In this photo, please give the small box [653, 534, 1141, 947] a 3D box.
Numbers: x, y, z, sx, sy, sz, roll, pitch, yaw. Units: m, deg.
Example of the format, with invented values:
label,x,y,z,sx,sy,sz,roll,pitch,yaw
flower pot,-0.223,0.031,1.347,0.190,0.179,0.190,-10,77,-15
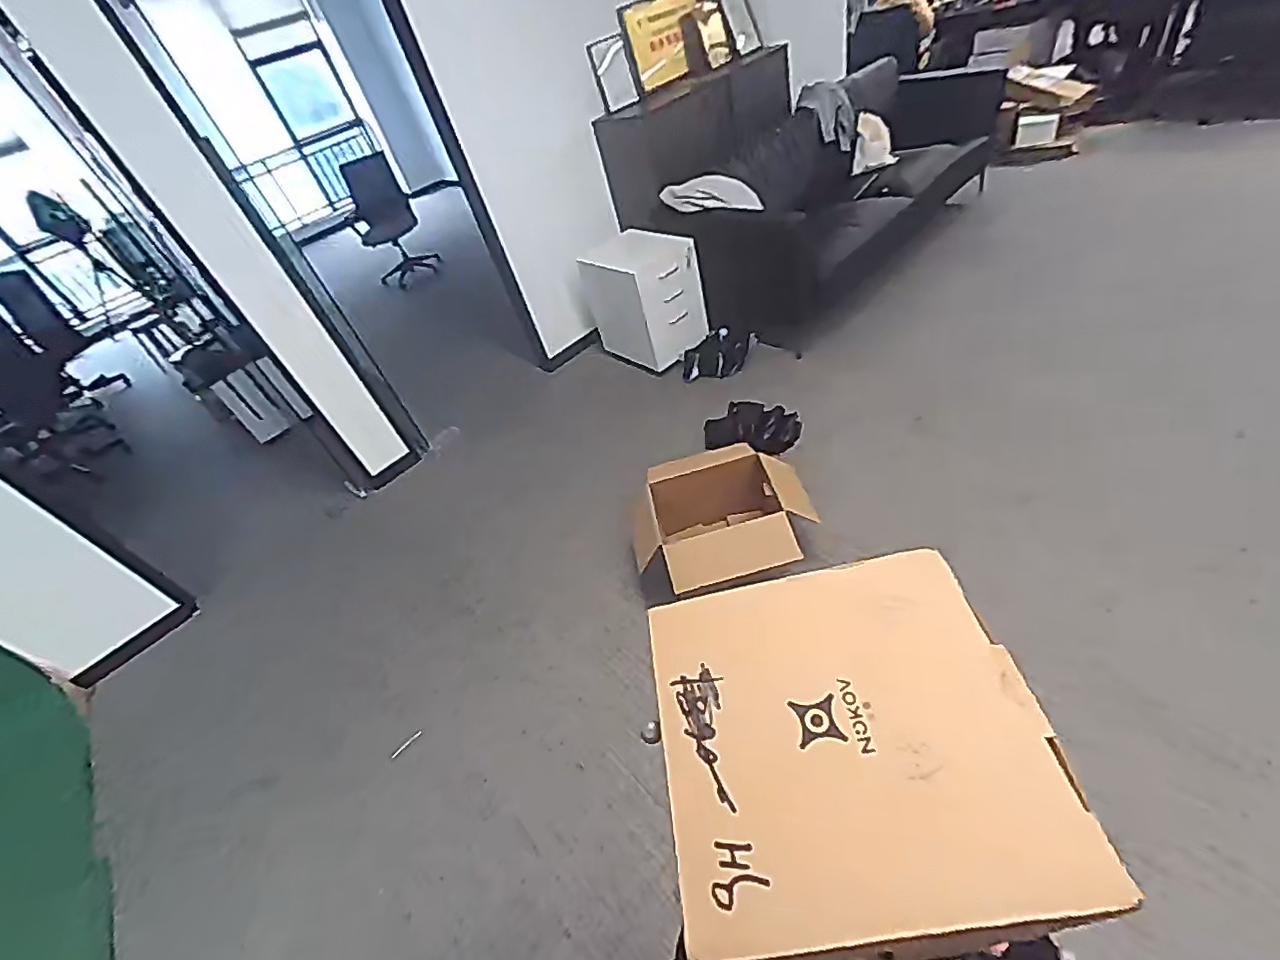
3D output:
label,x,y,z,sx,sy,sz,roll,pitch,yaw
small box,0.114,0.159,0.320,0.179,0.176,0.168,-12,46,6
